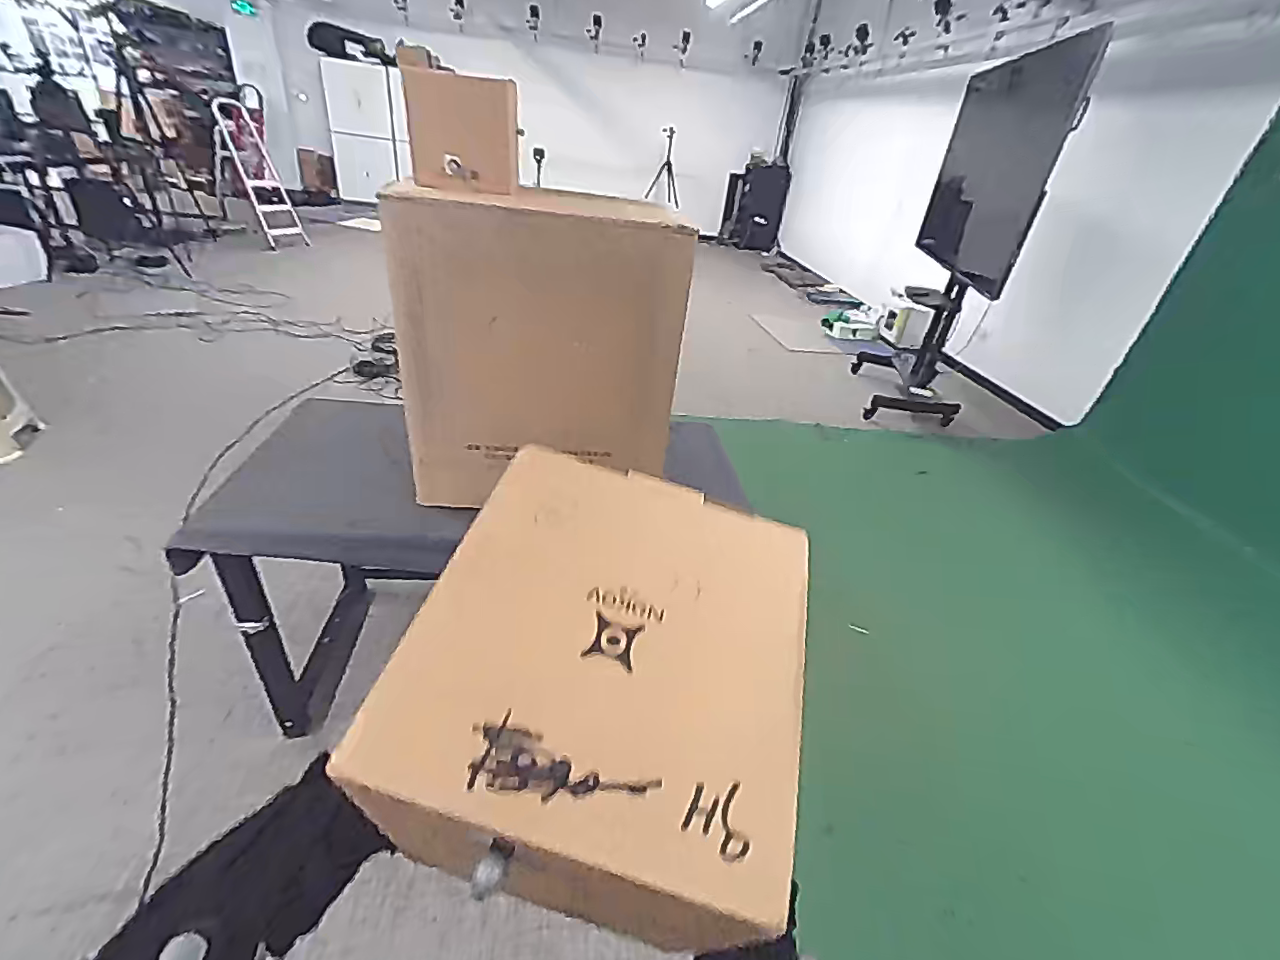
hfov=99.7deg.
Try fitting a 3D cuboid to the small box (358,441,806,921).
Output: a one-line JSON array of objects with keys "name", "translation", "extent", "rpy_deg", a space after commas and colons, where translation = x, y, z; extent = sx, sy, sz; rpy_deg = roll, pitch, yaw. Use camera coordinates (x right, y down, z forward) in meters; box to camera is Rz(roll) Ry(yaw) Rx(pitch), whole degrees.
[{"name": "small box", "translation": [-0.019, 0.112, 0.306], "extent": [0.168, 0.176, 0.179], "rpy_deg": [16, 47, 4]}]

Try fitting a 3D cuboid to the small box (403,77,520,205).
[{"name": "small box", "translation": [-0.305, -0.603, 0.964], "extent": [0.168, 0.176, 0.179], "rpy_deg": [-1, 36, -7]}]
